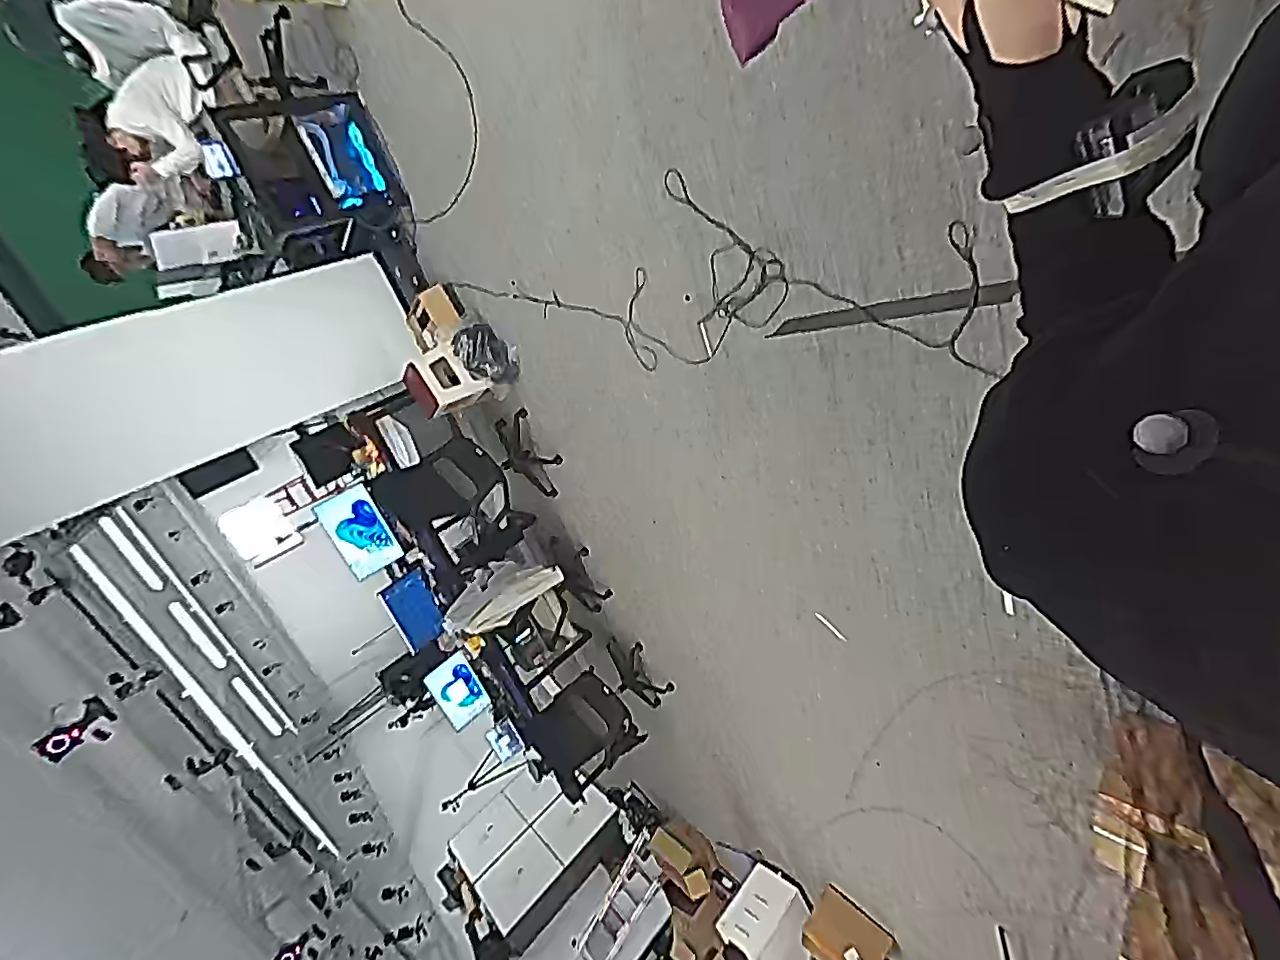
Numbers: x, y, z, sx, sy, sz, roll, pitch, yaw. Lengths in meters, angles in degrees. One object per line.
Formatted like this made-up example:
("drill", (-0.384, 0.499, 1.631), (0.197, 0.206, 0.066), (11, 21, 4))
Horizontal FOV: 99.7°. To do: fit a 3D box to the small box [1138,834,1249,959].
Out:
("small box", (1.310, 0.994, 1.281), (0.168, 0.176, 0.179), (3, 122, 53))
